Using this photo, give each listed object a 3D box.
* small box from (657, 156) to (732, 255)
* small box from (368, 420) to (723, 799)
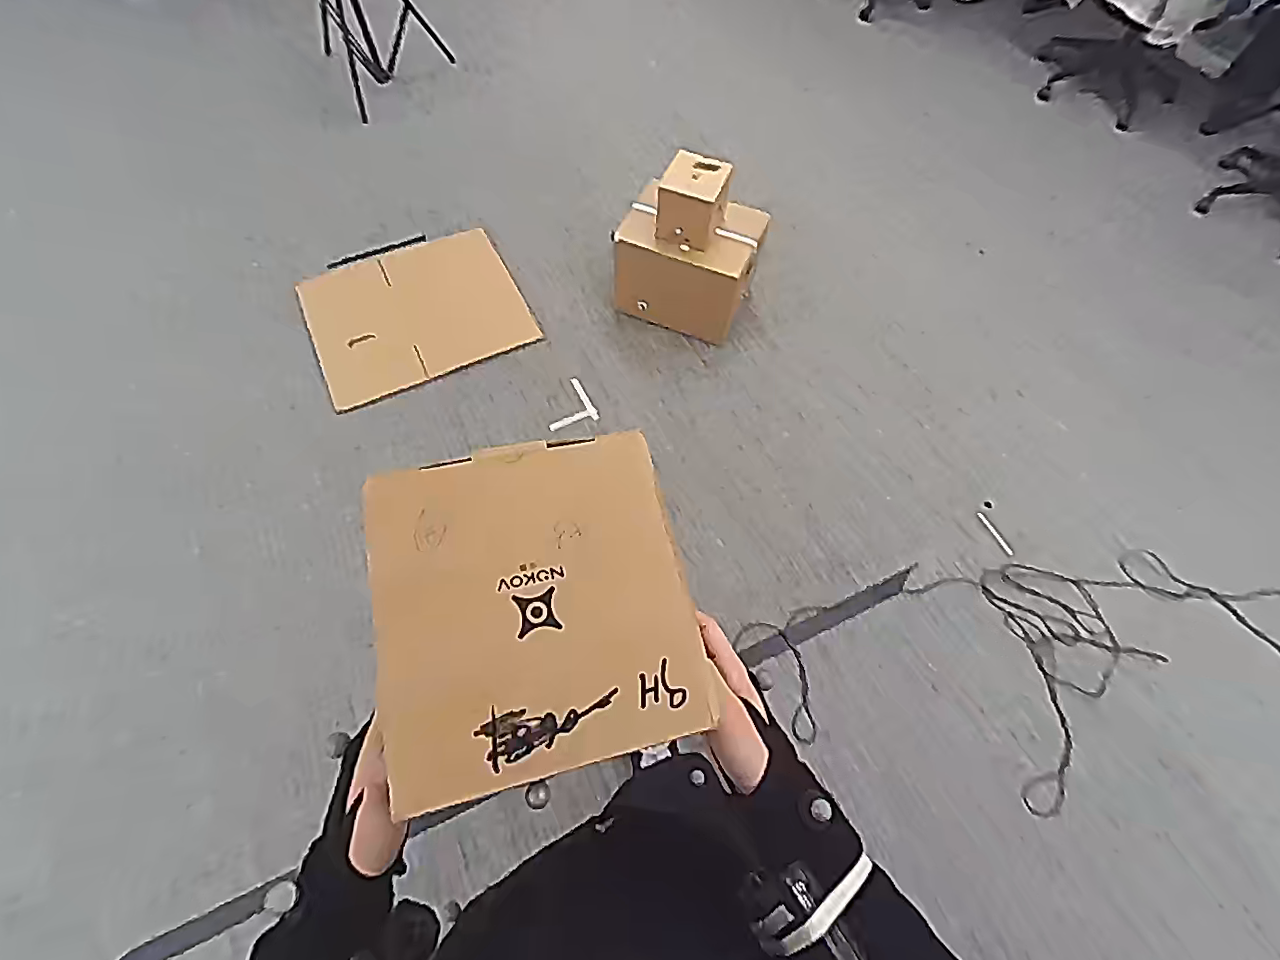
[{"bbox_3d":[0.153,-0.801,1.585,0.168,0.176,0.179,21,65,9],"label":"small box"},{"bbox_3d":[-0.064,0.086,0.366,0.168,0.176,0.179,-12,70,-11],"label":"small box"}]
